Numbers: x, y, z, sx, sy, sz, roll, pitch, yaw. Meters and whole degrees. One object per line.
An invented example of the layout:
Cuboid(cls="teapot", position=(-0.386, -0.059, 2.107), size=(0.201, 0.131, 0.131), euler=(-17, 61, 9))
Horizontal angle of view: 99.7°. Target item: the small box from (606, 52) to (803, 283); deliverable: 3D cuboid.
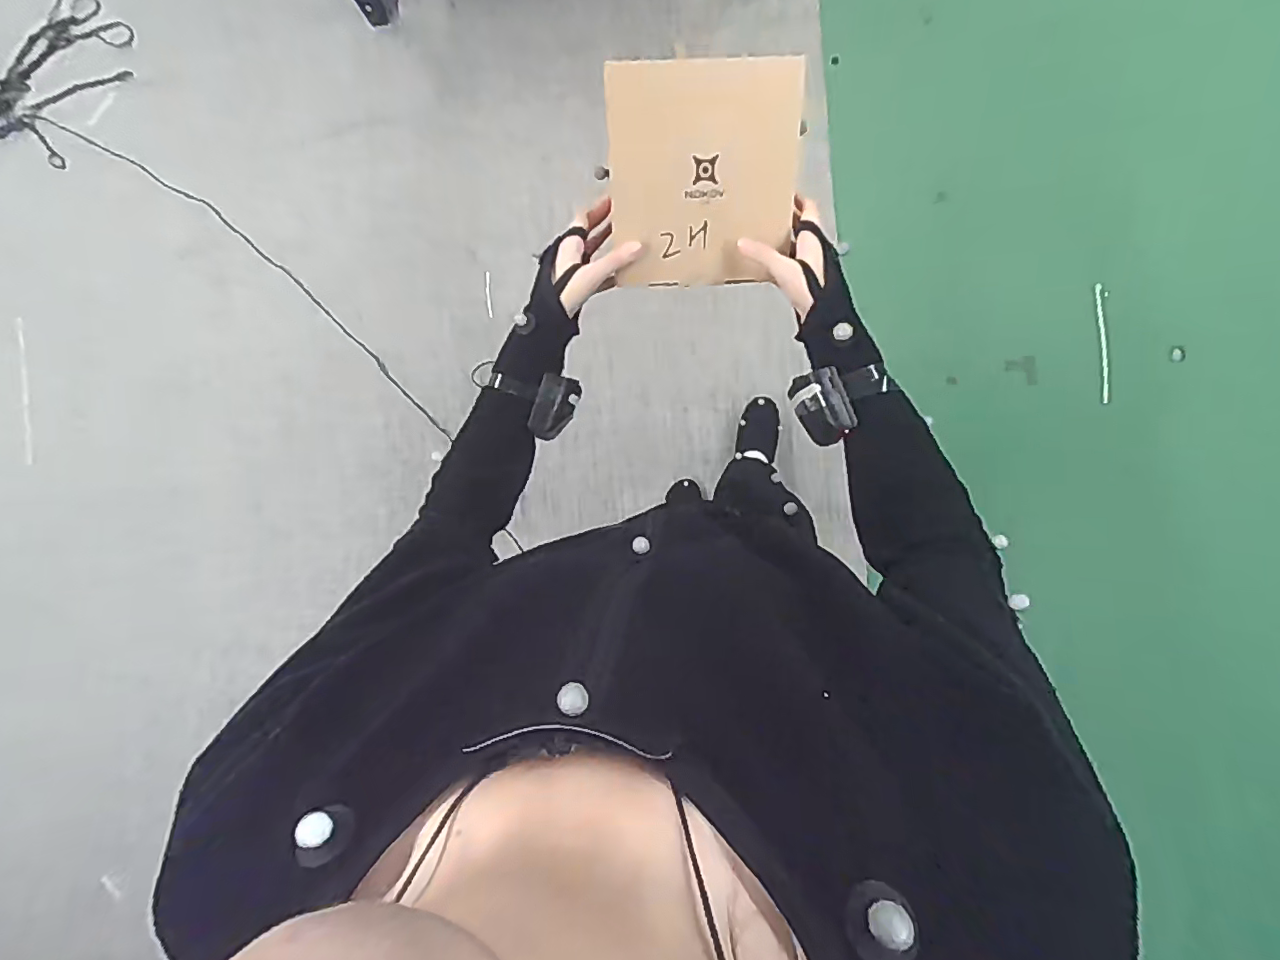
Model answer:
Cuboid(cls="small box", position=(0.050, -0.301, 0.545), size=(0.168, 0.176, 0.179), euler=(-2, 117, -1))
